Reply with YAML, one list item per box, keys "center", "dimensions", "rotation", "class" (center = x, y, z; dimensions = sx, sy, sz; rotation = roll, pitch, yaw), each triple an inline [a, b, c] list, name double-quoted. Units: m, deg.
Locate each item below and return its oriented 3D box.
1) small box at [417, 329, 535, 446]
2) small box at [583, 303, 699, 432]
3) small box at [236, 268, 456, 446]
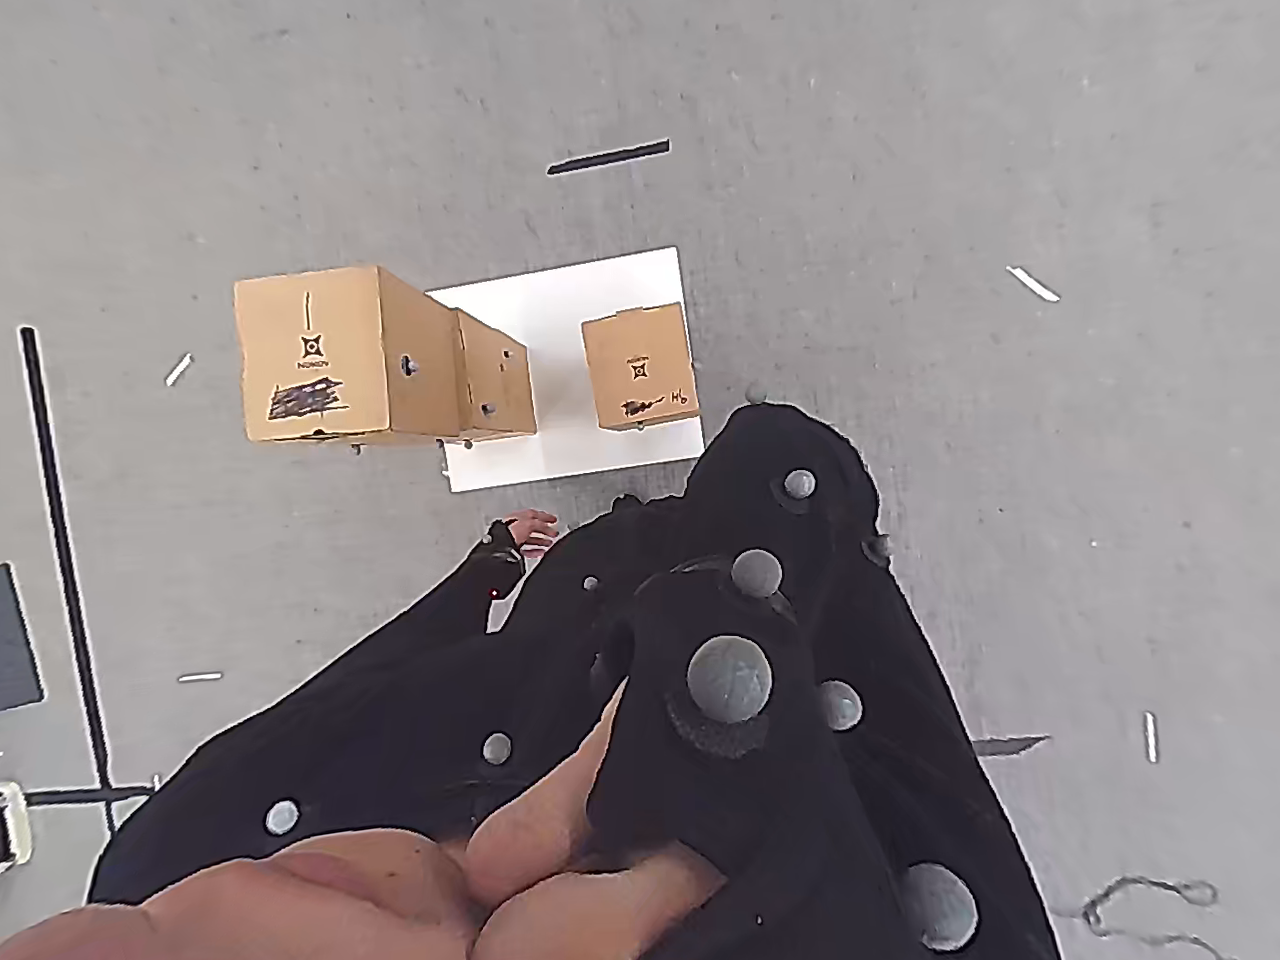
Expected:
- center: [-0.298, -0.158, 0.975]
  dimensions: [0.168, 0.176, 0.179]
  rotation: [-7, 92, 5]
  class: "small box"
- center: [0.008, -0.185, 0.943]
  dimensions: [0.168, 0.176, 0.179]
  rotation: [-10, 92, 7]
  class: "small box"
- center: [-0.335, -0.133, 0.649]
  dimensions: [0.168, 0.176, 0.179]
  rotation: [-4, 92, 6]
  class: "small box"
